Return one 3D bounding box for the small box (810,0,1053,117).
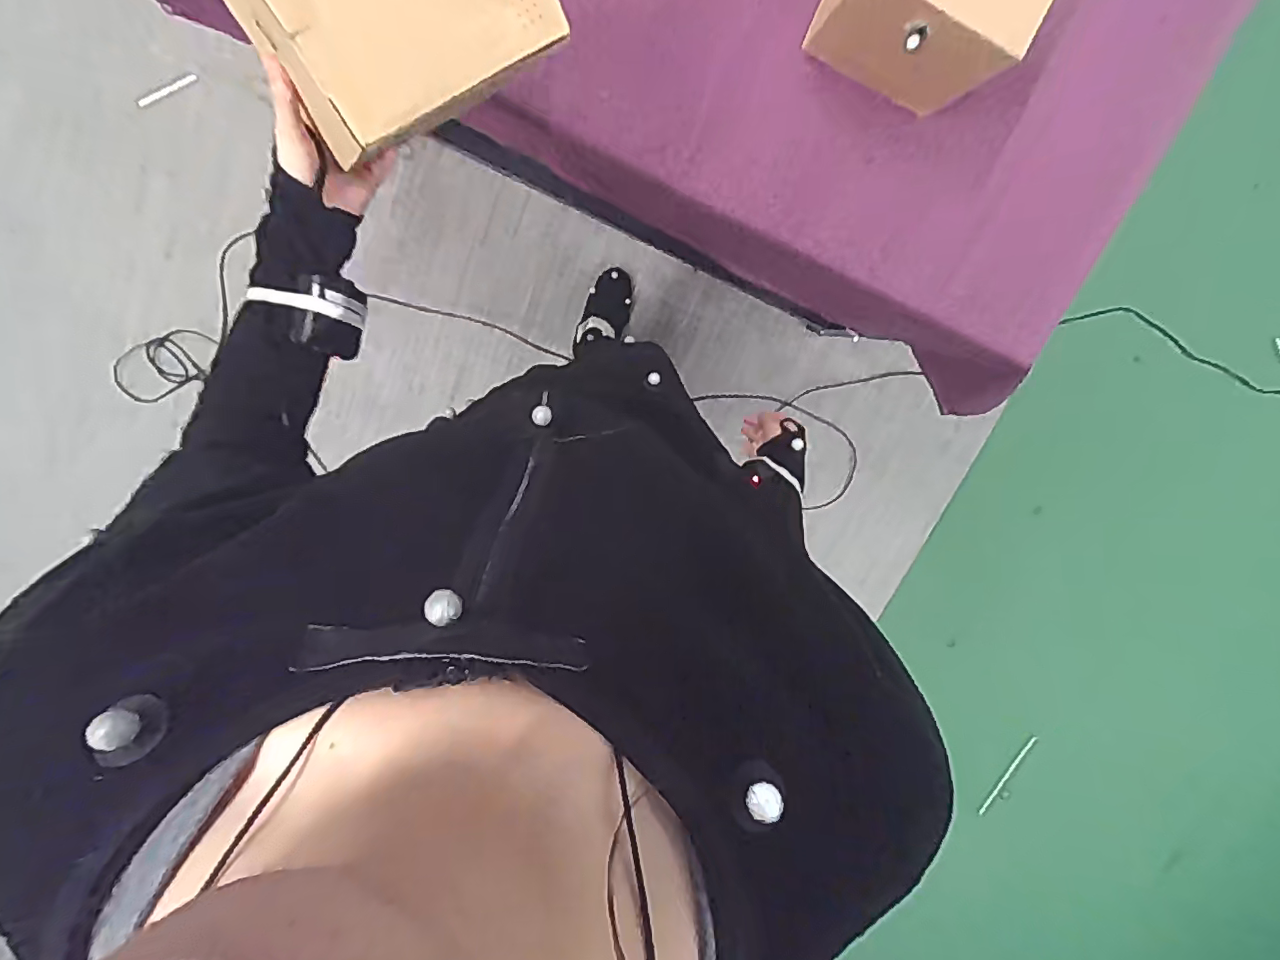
[{"bbox_3d":[0.306,-0.516,0.554,0.179,0.176,0.168,22,104,-10],"label":"small box"}]

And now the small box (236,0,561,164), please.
[{"bbox_3d":[-0.181,-0.350,0.376,0.176,0.179,0.168,-38,126,-12],"label":"small box"}]
